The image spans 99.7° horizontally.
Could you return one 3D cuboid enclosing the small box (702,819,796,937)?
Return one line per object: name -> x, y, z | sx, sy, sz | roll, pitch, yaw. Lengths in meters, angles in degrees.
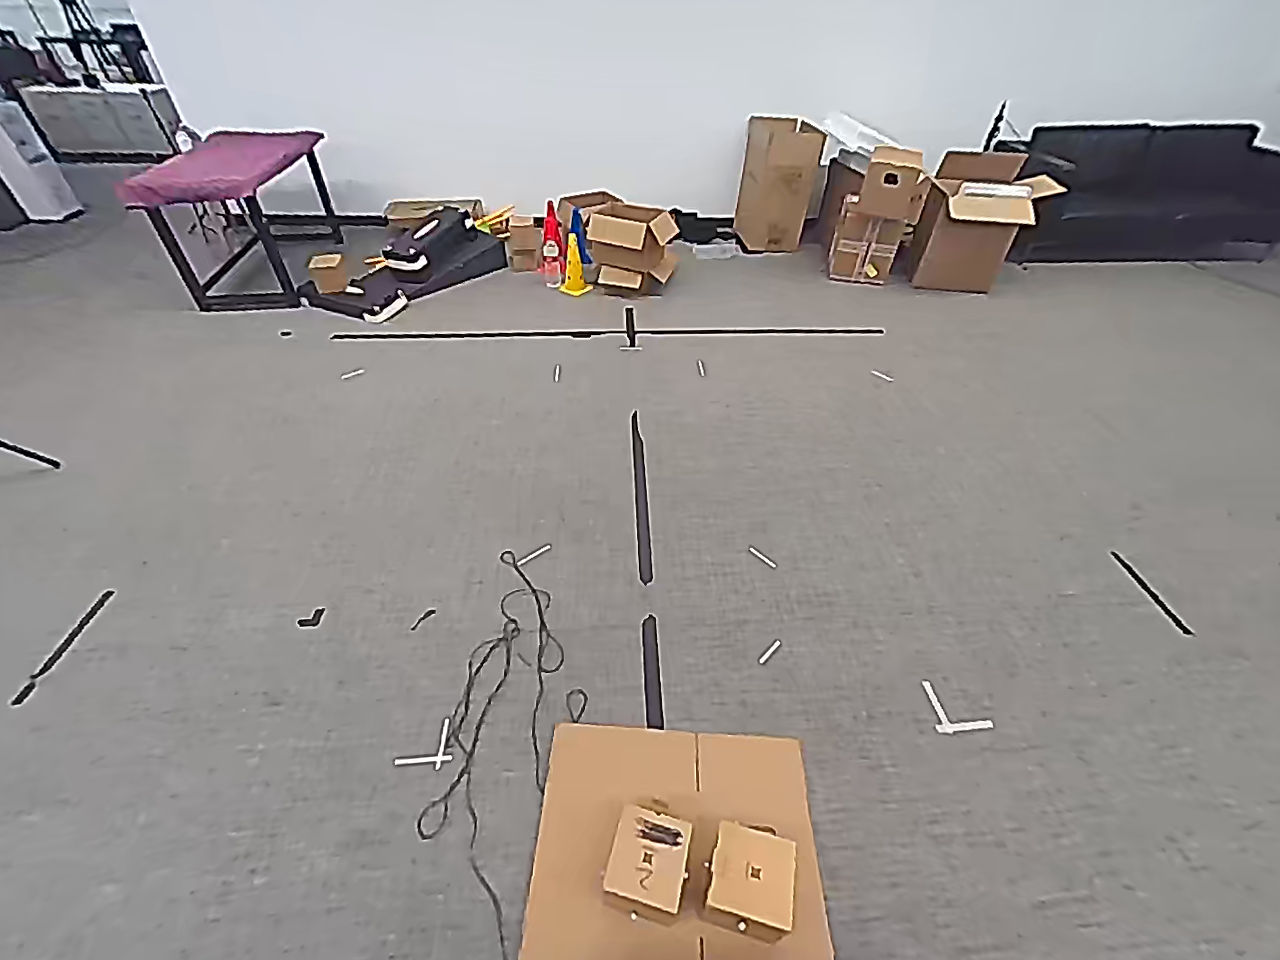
small box -> 0.249, 0.918, 1.241 | 0.179, 0.176, 0.168 | 11, 44, 11
